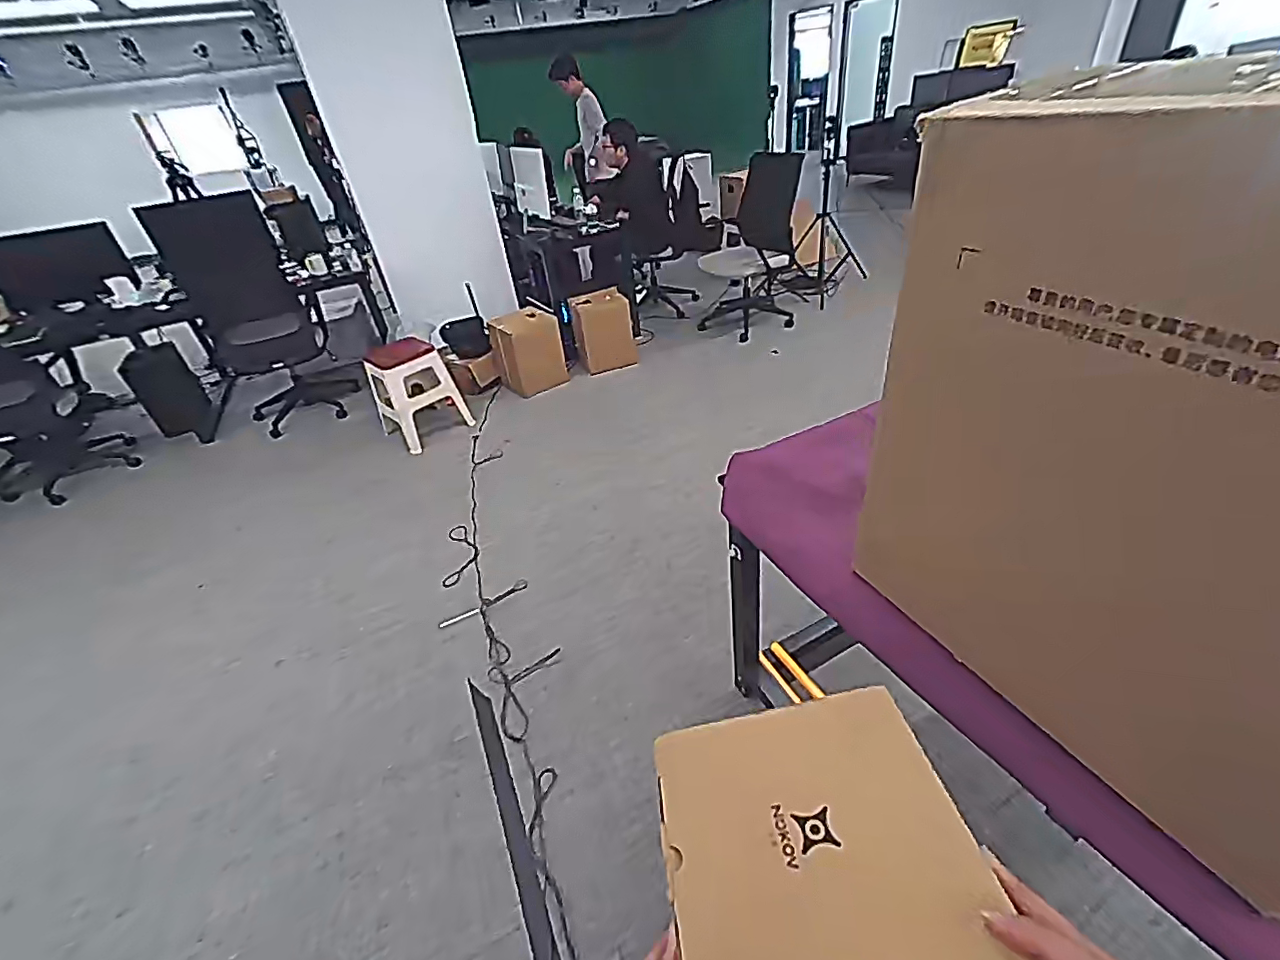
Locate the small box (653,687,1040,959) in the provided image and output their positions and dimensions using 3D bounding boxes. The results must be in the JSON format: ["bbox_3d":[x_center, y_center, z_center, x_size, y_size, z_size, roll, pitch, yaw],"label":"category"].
[{"bbox_3d":[0.117,0.275,0.364,0.179,0.176,0.168,-14,31,2],"label":"small box"}]
